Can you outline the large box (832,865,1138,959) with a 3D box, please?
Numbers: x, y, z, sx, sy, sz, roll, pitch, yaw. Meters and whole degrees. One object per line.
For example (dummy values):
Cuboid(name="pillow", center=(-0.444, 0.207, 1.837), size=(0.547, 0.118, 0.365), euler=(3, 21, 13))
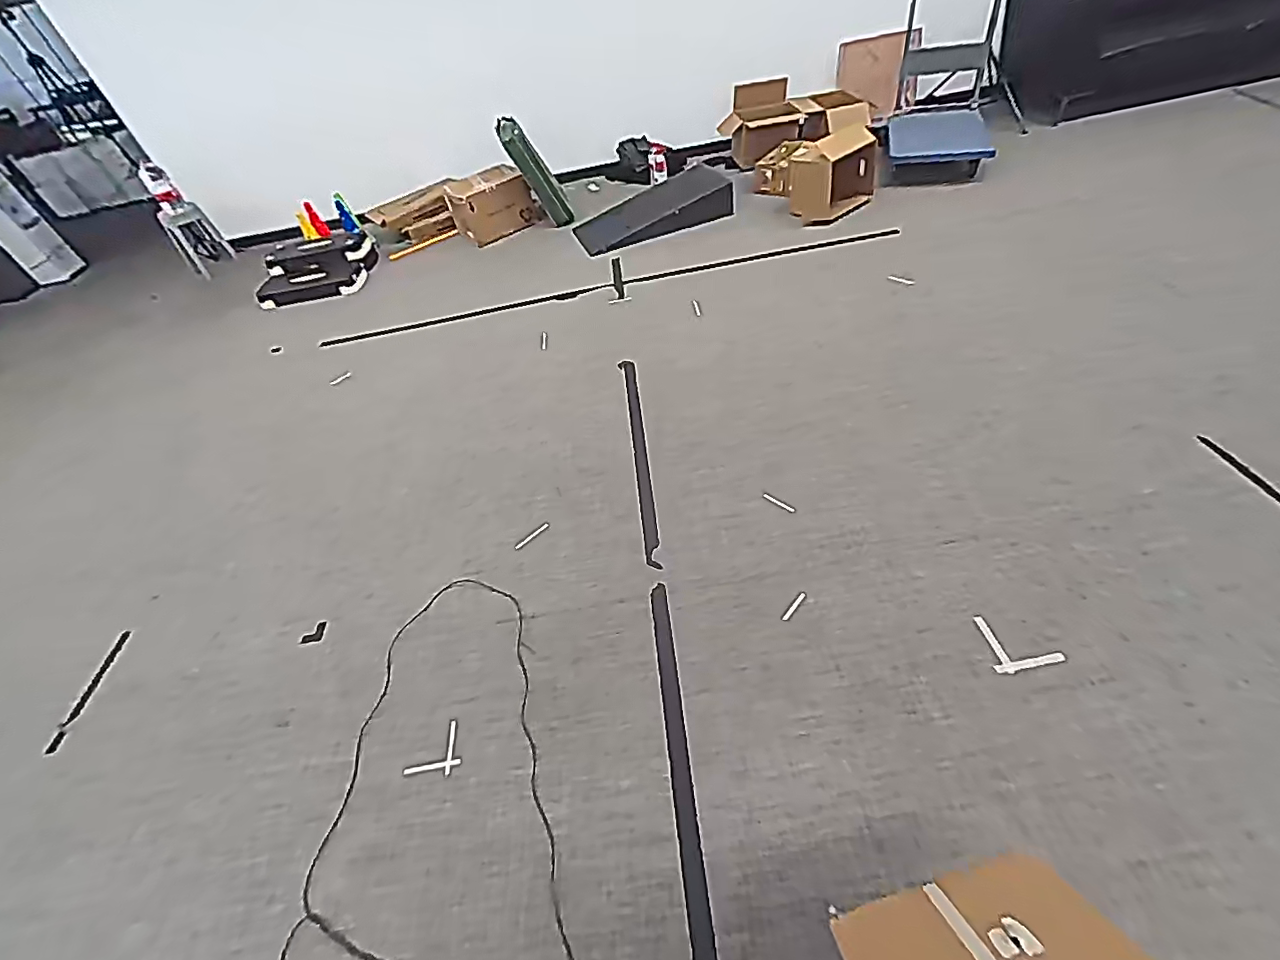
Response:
Cuboid(name="large box", center=(0.466, 0.728, 0.579), size=(0.320, 0.408, 0.320), euler=(-18, 81, 0))
